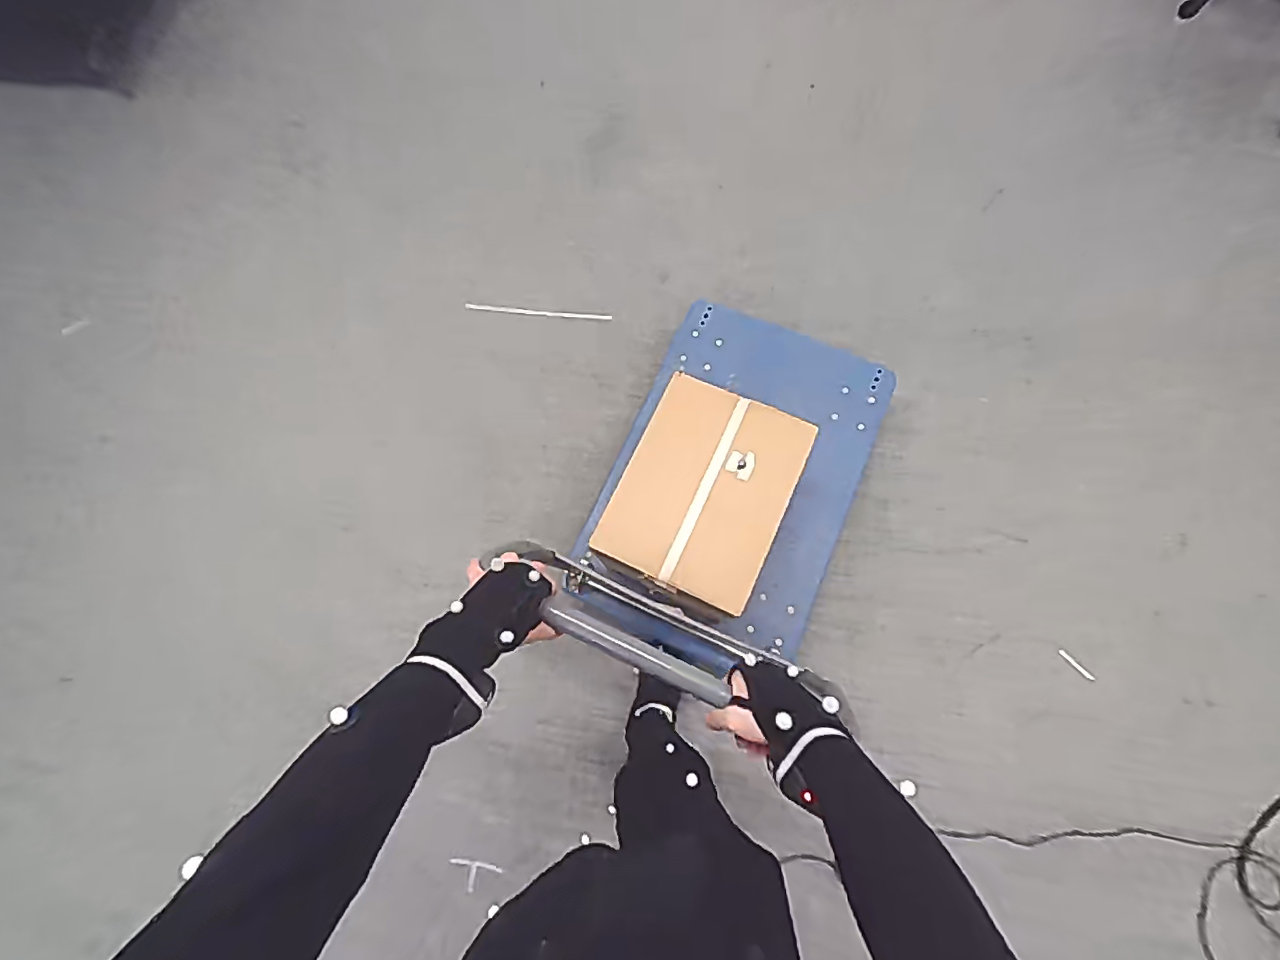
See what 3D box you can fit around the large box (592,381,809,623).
[{"bbox_3d":[0.132,0.066,1.207,0.320,0.320,0.408,24,75,10],"label":"large box"}]
